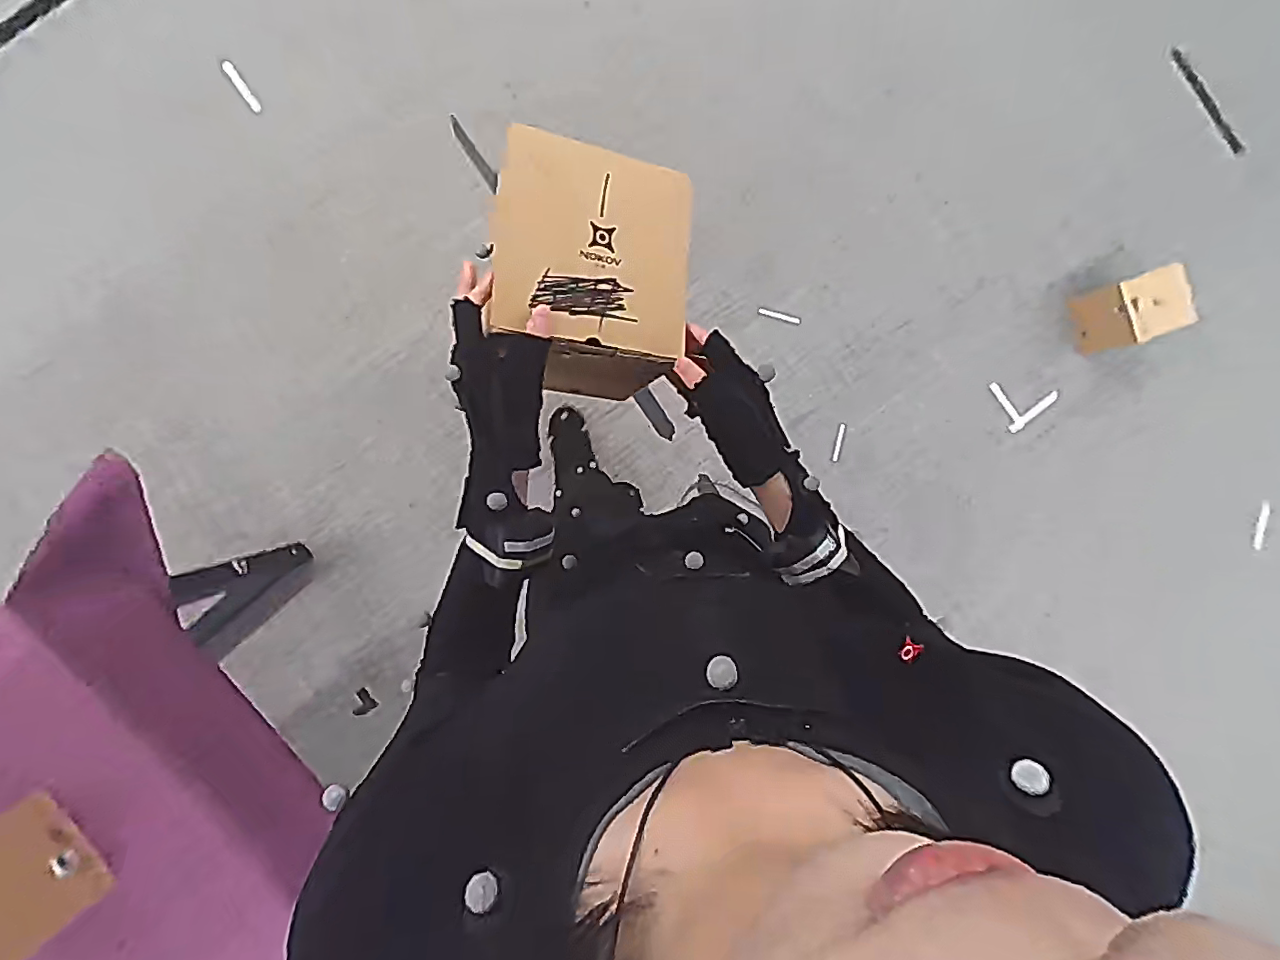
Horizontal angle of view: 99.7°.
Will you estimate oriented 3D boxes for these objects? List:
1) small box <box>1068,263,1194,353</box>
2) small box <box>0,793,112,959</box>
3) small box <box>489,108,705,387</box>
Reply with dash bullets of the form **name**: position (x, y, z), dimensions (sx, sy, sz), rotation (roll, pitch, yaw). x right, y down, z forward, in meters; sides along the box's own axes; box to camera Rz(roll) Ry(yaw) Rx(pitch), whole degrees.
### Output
- **small box**: position (1.347, -0.468, 1.494), dimensions (0.179, 0.176, 0.168), rotation (-21, 93, -2)
- **small box**: position (-0.845, 0.546, 0.675), dimensions (0.179, 0.176, 0.168), rotation (-37, 95, -2)
- **small box**: position (-0.051, -0.201, 0.528), dimensions (0.168, 0.176, 0.179), rotation (6, 83, -20)
